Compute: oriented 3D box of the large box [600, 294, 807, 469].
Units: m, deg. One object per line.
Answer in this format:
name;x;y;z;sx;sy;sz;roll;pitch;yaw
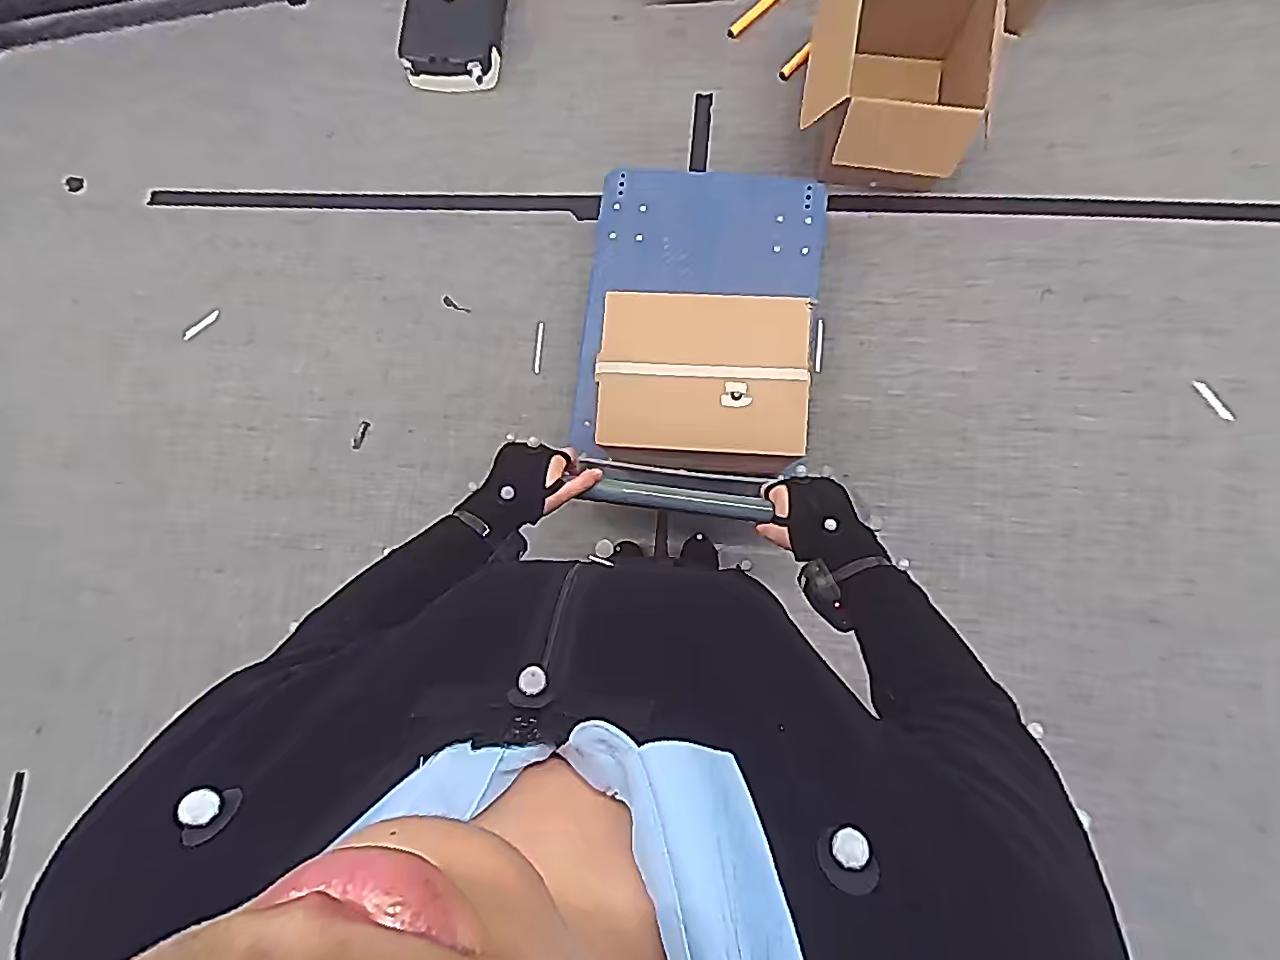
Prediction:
large box;0.132;-0.199;1.209;0.408;0.320;0.320;3;85;4
